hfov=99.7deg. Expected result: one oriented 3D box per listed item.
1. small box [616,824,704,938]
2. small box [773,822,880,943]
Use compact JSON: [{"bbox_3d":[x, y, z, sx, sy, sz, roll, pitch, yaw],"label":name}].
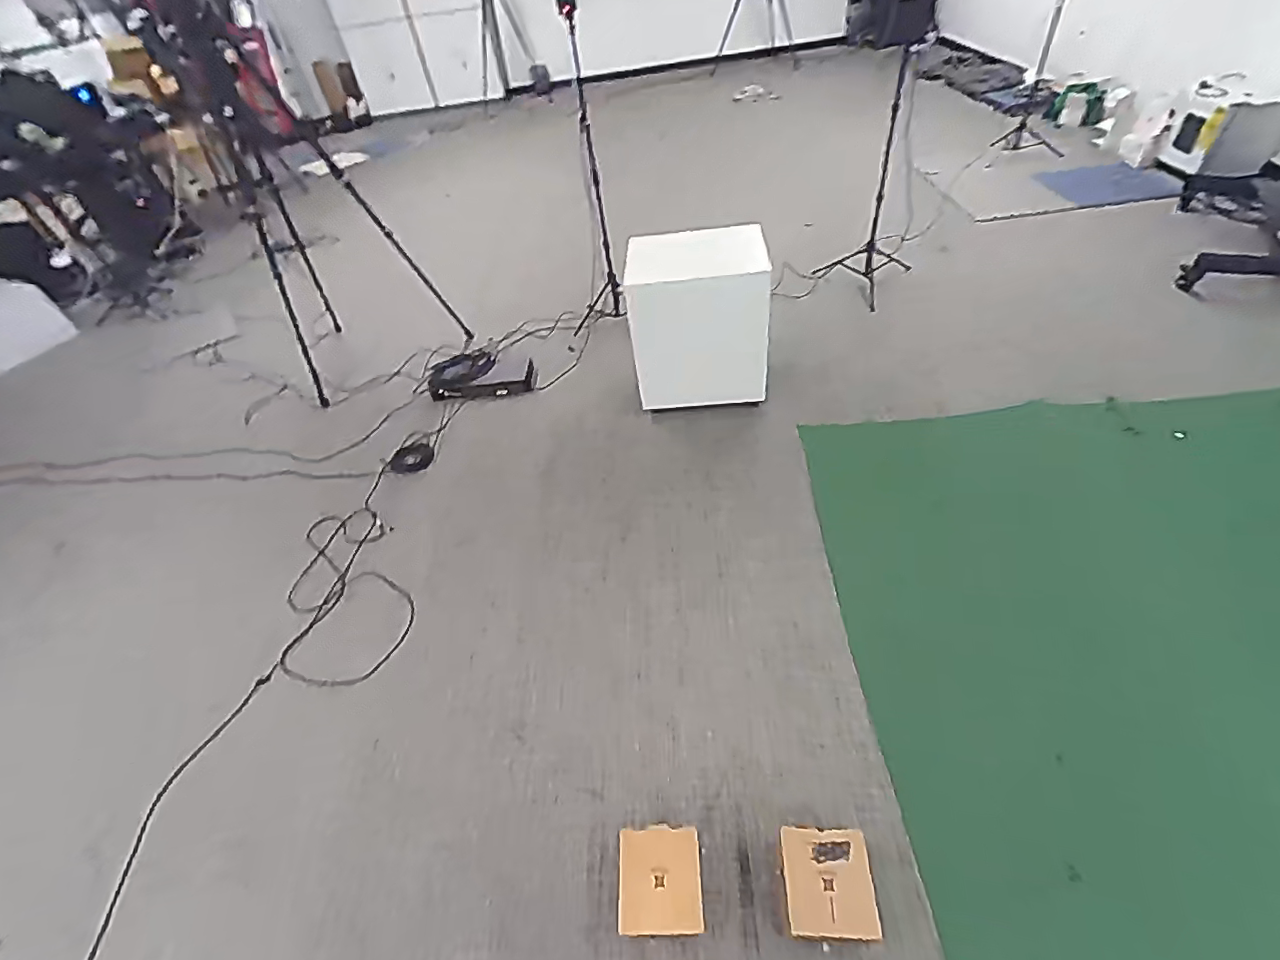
[{"bbox_3d":[0.044,0.842,1.132,0.168,0.176,0.179,-5,46,4],"label":"small box"},{"bbox_3d":[0.368,0.819,1.101,0.168,0.176,0.179,-2,47,7],"label":"small box"}]
